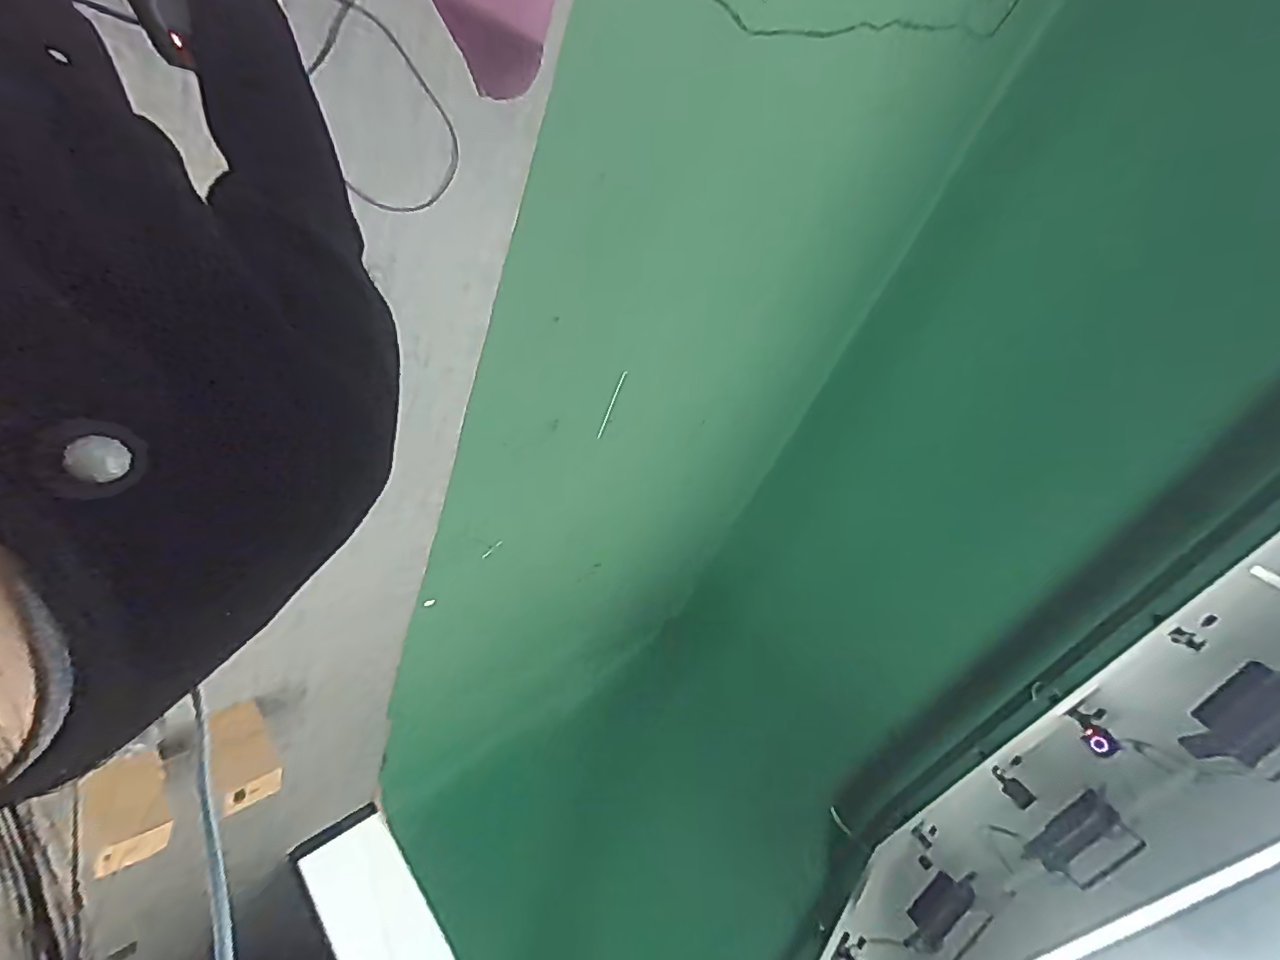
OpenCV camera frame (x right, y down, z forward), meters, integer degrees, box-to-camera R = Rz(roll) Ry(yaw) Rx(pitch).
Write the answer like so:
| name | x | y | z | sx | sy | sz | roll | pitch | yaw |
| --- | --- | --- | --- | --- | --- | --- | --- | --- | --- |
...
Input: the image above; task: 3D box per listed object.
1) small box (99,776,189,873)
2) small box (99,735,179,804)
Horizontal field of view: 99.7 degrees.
| name | x | y | z | sx | sy | sz | roll | pitch | yaw |
| --- | --- | --- | --- | --- | --- | --- | --- | --- | --- |
| small box | -1.621 | 1.116 | 1.766 | 0.179 | 0.176 | 0.168 | -4 | 128 | -55 |
| small box | -1.723 | 1.021 | 1.856 | 0.168 | 0.176 | 0.179 | -3 | 128 | -55 |
